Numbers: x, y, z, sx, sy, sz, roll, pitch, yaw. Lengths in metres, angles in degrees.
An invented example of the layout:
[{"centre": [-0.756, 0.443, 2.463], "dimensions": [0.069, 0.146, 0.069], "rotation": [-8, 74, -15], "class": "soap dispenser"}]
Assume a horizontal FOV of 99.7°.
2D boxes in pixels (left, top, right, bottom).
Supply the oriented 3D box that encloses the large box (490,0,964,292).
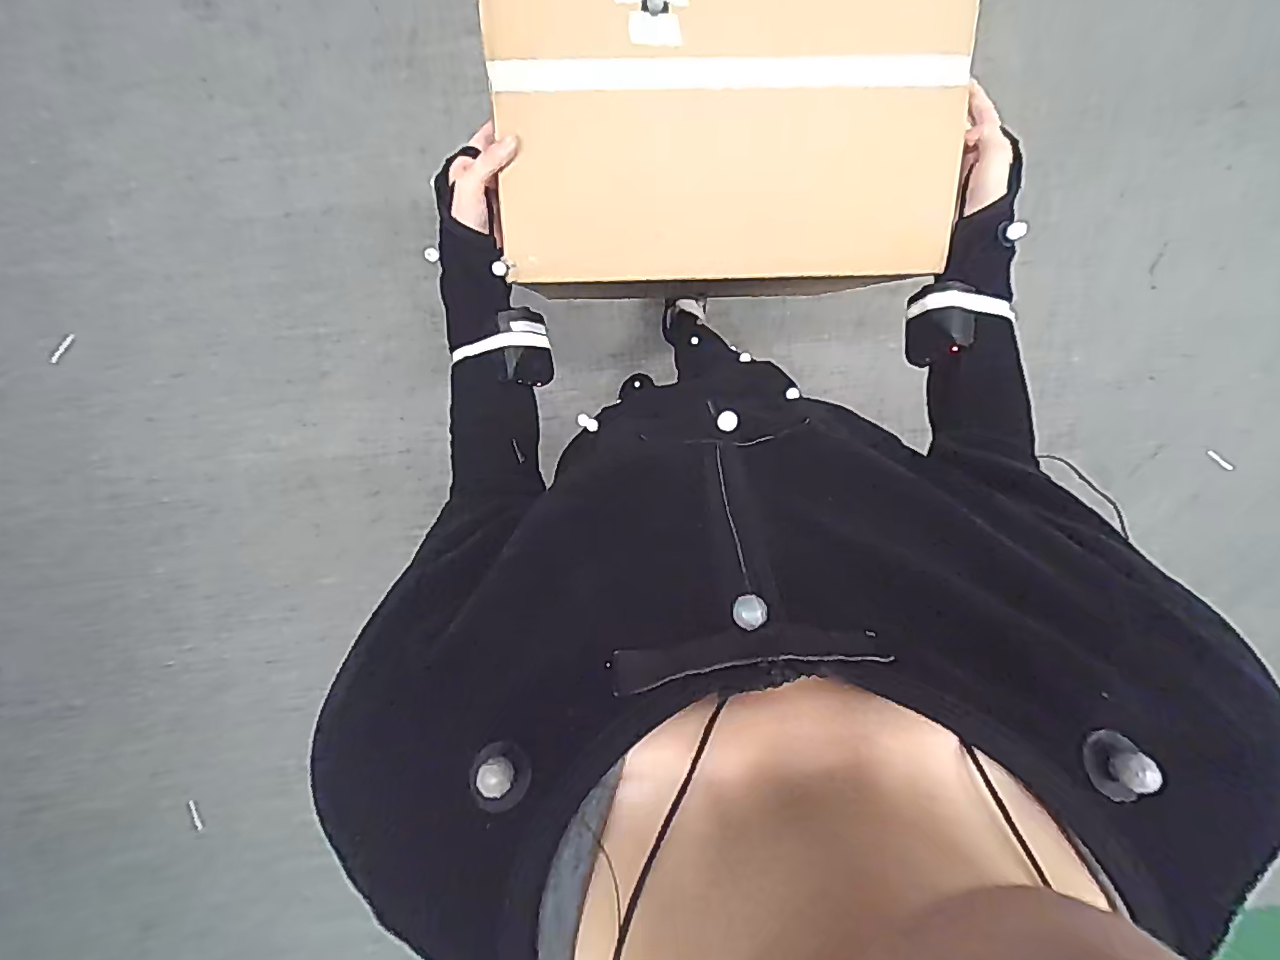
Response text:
[{"centre": [0.073, -0.387, 0.608], "dimensions": [0.408, 0.320, 0.320], "rotation": [-2, 105, -1], "class": "large box"}]
